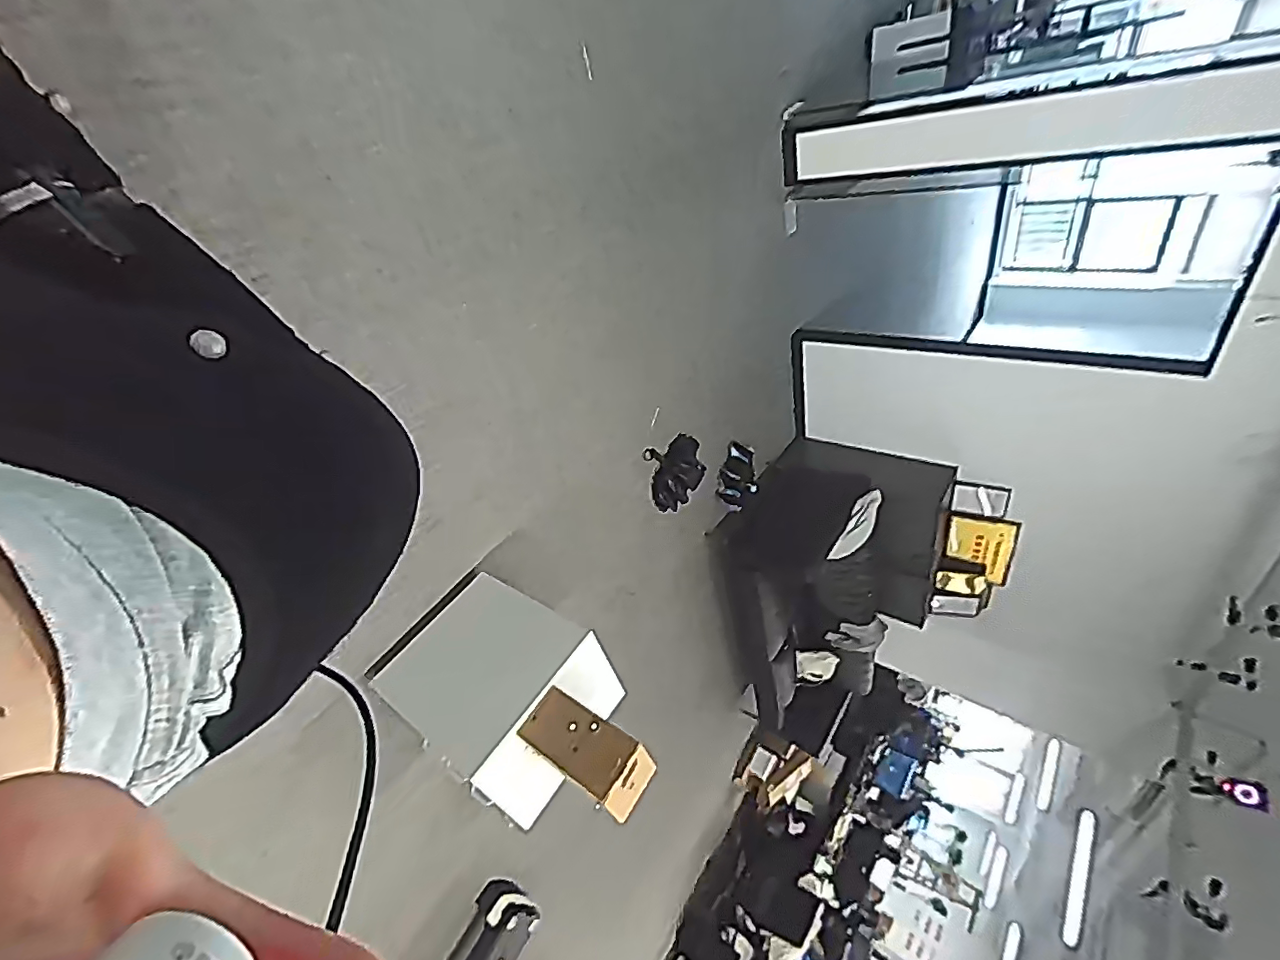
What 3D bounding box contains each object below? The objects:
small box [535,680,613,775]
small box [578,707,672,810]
[{"bbox_3d":[-0.171,0.710,1.562,0.168,0.176,0.179,-52,141,-29],"label":"small box"},{"bbox_3d":[-0.041,0.748,1.468,0.168,0.176,0.179,-51,140,-29],"label":"small box"}]
